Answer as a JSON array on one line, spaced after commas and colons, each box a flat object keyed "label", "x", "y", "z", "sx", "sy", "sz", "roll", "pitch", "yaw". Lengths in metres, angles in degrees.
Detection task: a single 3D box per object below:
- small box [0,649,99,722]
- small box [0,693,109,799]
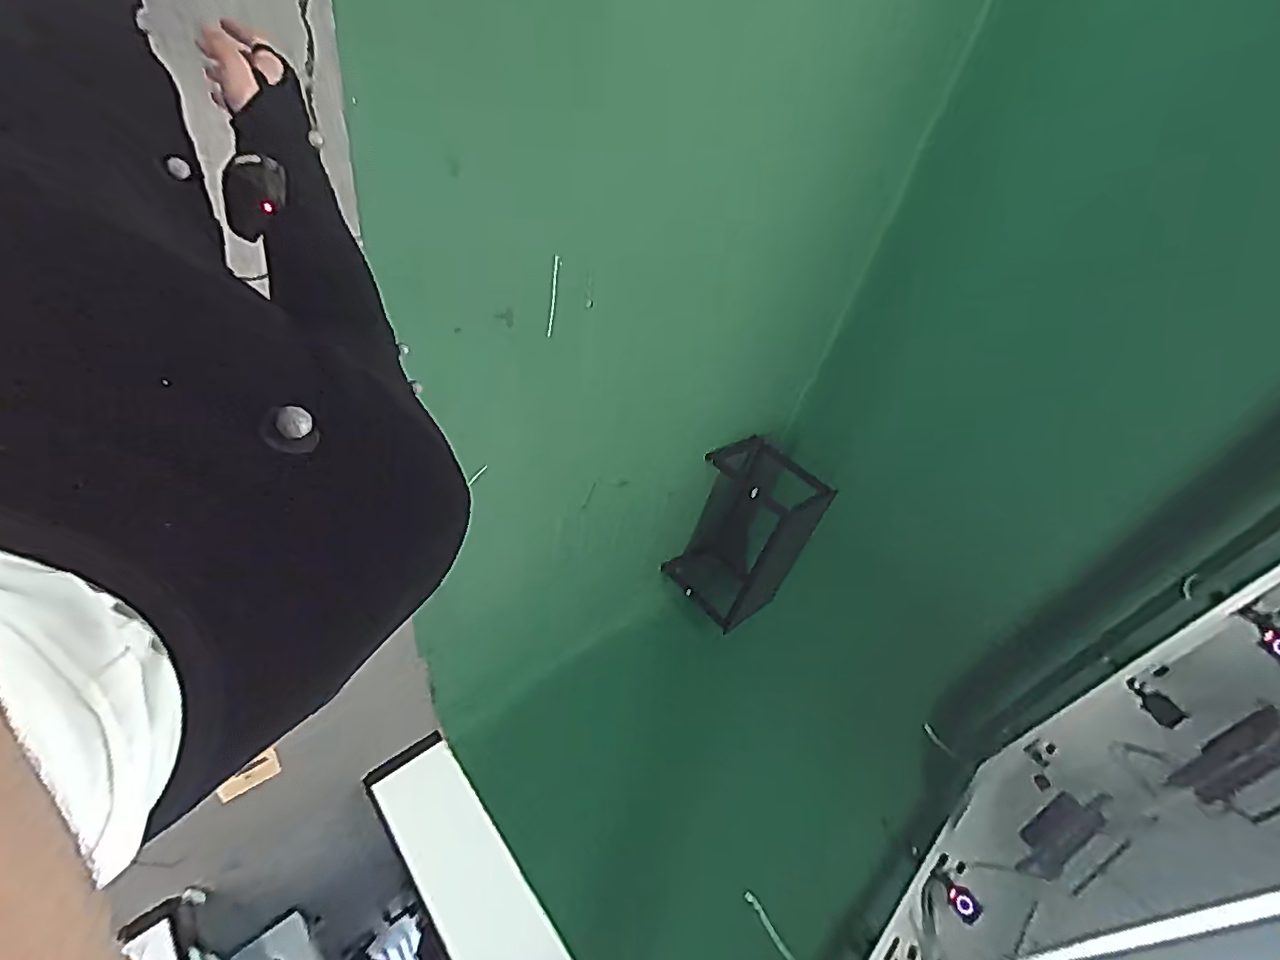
[{"label": "small box", "x": -1.751, "y": 0.636, "z": 1.591, "sx": 0.179, "sy": 0.176, "sz": 0.168, "roll": -21, "pitch": 143, "yaw": -39}, {"label": "small box", "x": -1.645, "y": 0.736, "z": 1.516, "sx": 0.179, "sy": 0.176, "sz": 0.168, "roll": -19, "pitch": 141, "yaw": -41}]
